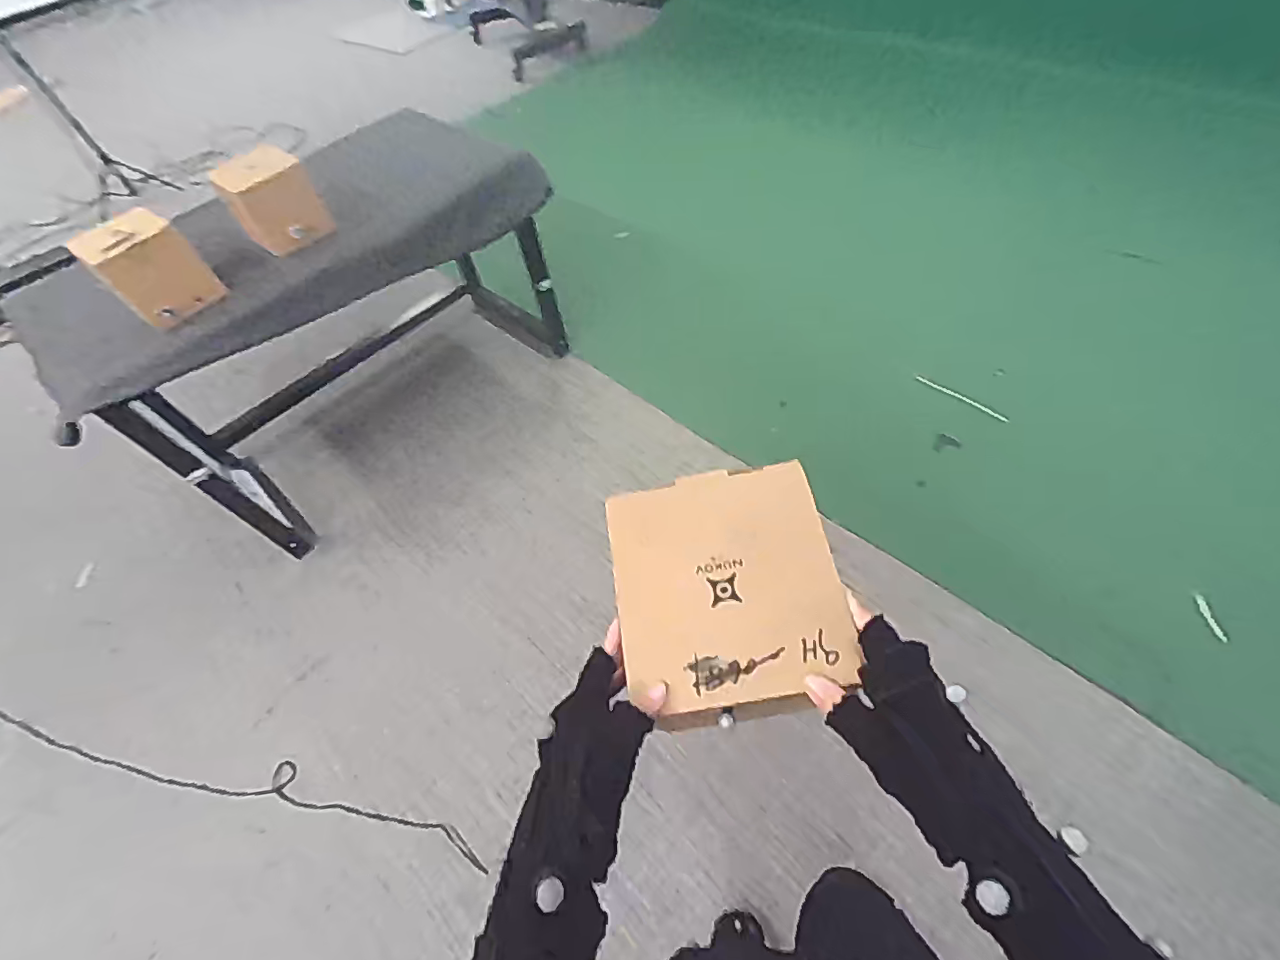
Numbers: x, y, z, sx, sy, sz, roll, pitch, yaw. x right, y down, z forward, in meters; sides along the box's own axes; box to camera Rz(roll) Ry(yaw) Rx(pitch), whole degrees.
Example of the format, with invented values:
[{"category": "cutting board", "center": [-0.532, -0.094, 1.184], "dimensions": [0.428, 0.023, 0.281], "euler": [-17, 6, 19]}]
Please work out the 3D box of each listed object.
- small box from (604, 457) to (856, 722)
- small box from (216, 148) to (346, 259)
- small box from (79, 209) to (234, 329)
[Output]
[{"category": "small box", "center": [0.071, 0.107, 0.486], "dimensions": [0.168, 0.176, 0.179], "euler": [-12, 61, 5]}, {"category": "small box", "center": [-0.872, -0.674, 1.326], "dimensions": [0.179, 0.176, 0.168], "euler": [34, 67, 25]}, {"category": "small box", "center": [-1.059, -0.462, 1.198], "dimensions": [0.179, 0.176, 0.168], "euler": [29, 63, 27]}]
